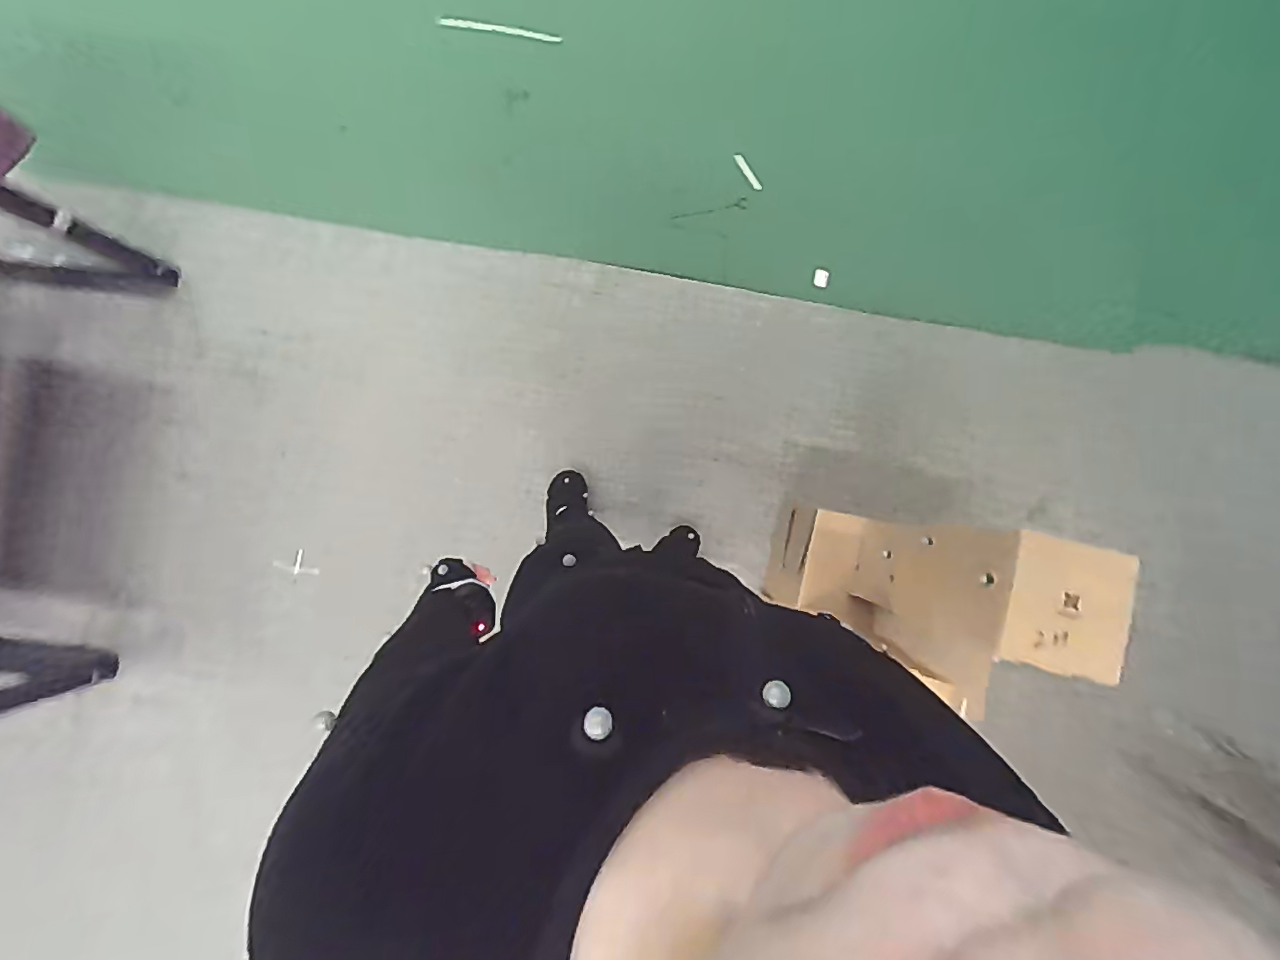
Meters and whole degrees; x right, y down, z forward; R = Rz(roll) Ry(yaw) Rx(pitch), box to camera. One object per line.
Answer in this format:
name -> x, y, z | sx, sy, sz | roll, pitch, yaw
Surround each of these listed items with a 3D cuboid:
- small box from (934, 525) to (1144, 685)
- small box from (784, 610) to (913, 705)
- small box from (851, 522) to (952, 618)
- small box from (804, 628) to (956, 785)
small box -> 0.559, 0.166, 0.781 | 0.168, 0.176, 0.179 | 14, 87, 0
small box -> 0.412, 0.378, 1.102 | 0.179, 0.176, 0.168 | 17, 89, -1
small box -> 0.568, 0.185, 1.111 | 0.179, 0.176, 0.168 | 16, 87, -1
small box -> 0.402, 0.381, 0.940 | 0.168, 0.176, 0.179 | 17, 89, 0
